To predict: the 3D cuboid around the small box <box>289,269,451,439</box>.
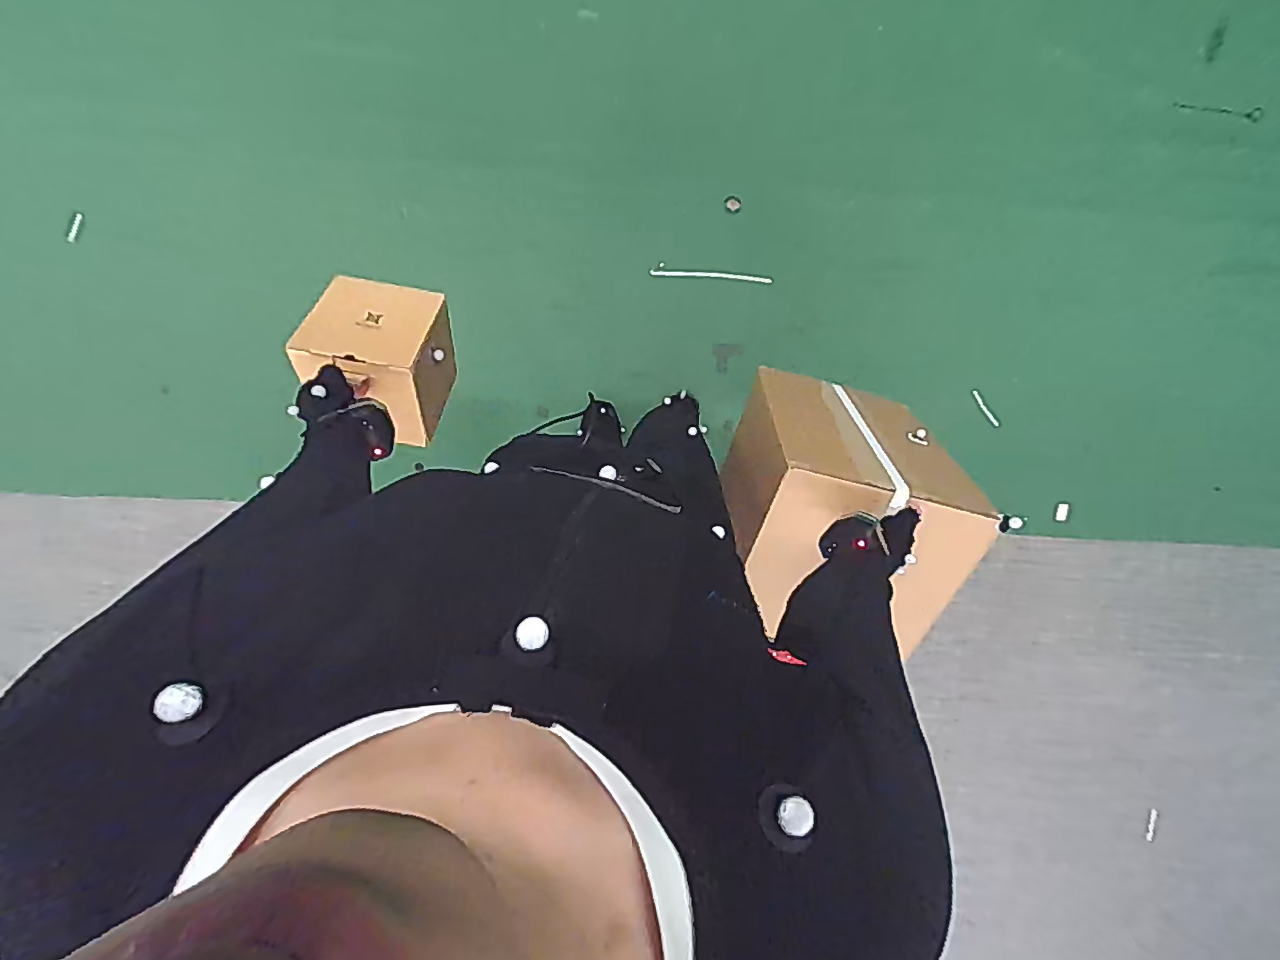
[{"bbox_3d":[-0.403,-0.193,0.846,0.168,0.176,0.179,9,55,-6],"label":"small box"}]
